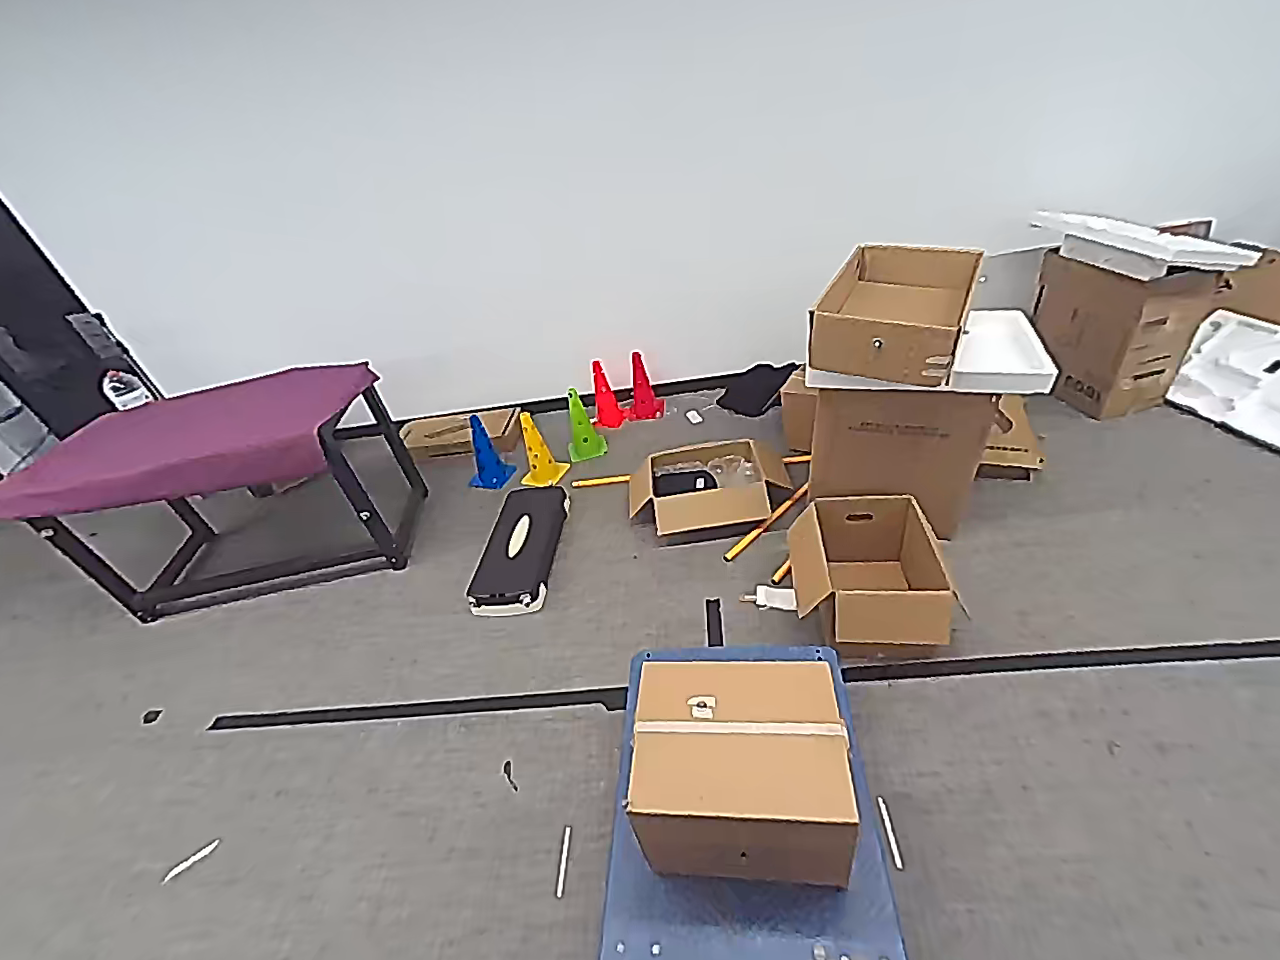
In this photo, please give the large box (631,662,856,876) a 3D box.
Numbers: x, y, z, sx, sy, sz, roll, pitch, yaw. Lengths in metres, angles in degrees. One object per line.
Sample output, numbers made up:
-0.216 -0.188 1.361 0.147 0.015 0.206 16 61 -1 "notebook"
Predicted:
0.216 0.619 1.162 0.408 0.320 0.320 -5 36 10 "large box"
